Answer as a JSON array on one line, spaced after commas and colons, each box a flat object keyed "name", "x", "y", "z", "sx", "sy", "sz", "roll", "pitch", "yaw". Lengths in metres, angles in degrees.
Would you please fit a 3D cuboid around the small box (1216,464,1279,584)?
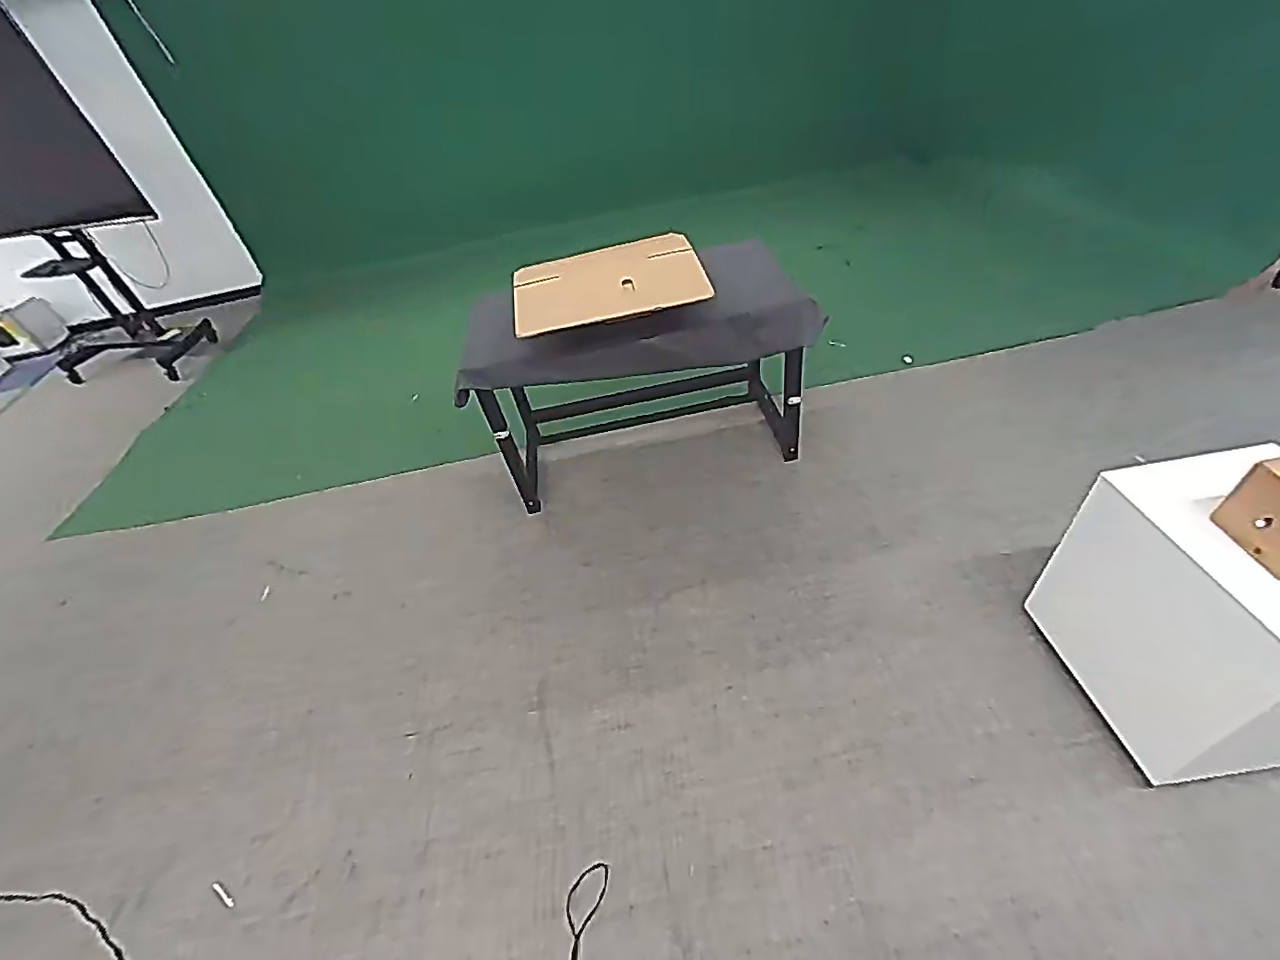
[{"name": "small box", "x": 1.266, "y": 0.078, "z": 1.021, "sx": 0.179, "sy": 0.176, "sz": 0.168, "roll": -9, "pitch": 42, "yaw": 1}]
